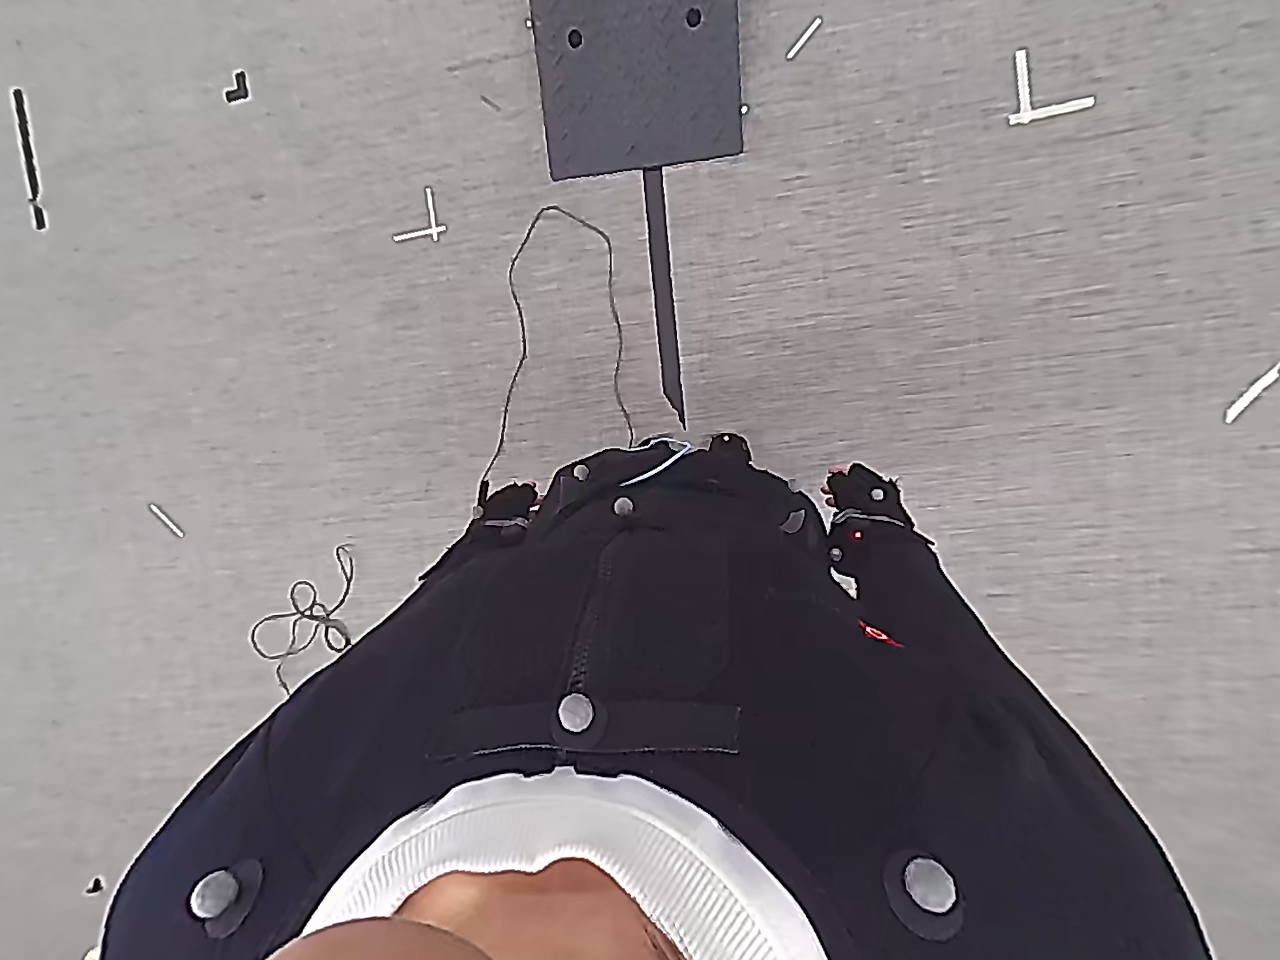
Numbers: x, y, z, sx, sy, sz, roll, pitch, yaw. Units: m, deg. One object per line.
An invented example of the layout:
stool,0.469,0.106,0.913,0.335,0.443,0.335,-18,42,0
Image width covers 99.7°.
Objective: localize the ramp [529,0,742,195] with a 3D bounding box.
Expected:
ramp,-0.038,-1.251,1.270,0.509,0.206,0.991,-6,94,8
